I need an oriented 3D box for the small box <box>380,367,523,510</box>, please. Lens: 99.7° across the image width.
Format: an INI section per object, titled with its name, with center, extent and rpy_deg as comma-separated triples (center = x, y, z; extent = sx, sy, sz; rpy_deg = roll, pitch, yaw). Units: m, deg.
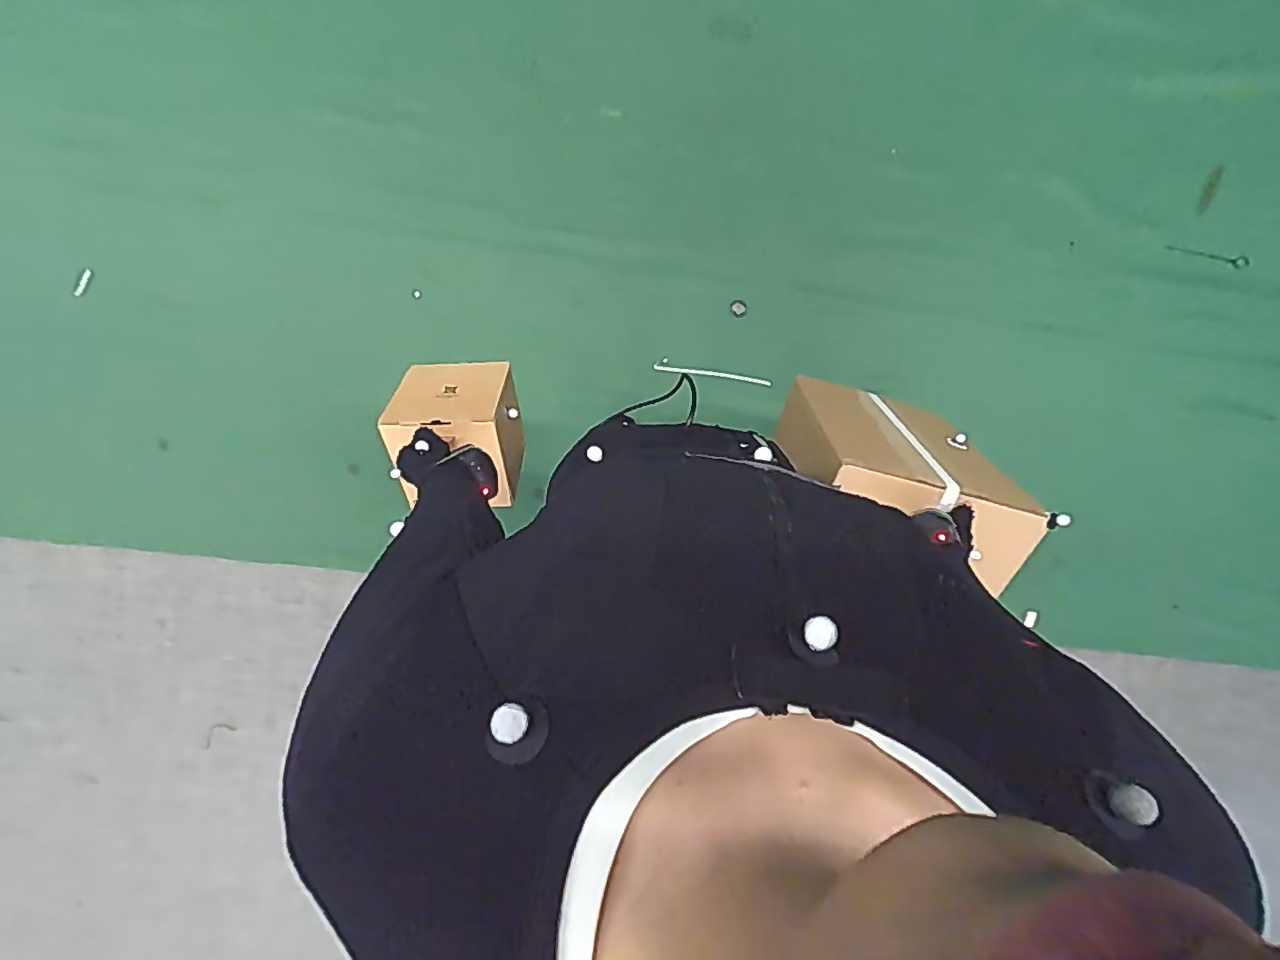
[small box]
center = -0.293, -0.070, 0.889
extent = 0.168, 0.179, 0.176
rpy_deg = -2, 131, -1
